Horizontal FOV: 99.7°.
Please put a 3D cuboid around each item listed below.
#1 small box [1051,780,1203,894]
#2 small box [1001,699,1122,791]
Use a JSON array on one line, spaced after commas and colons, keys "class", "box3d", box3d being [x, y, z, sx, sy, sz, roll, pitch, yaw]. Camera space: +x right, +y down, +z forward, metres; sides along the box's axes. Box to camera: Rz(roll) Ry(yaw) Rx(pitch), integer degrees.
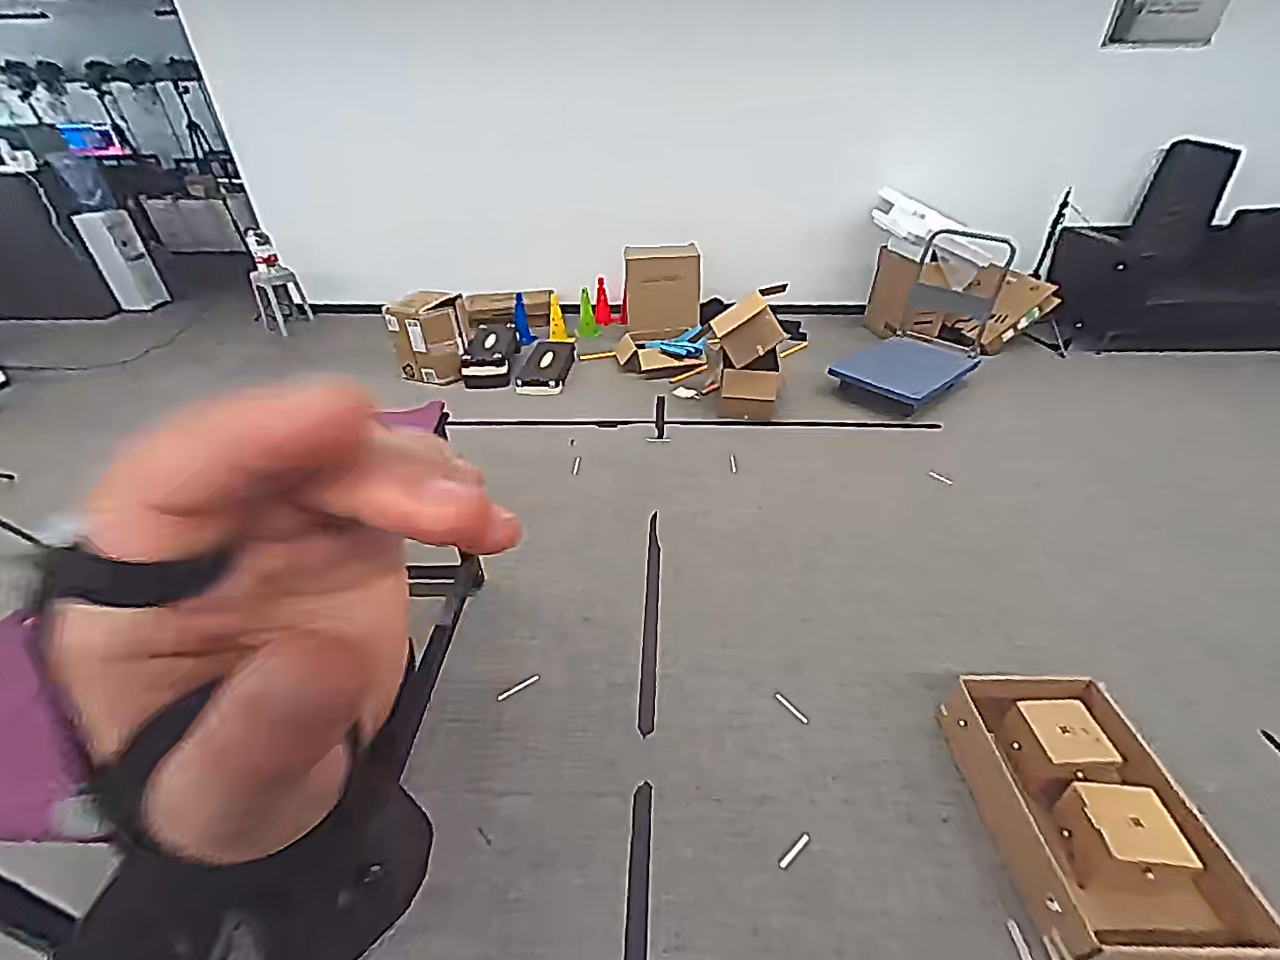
[{"class": "small box", "box3d": [1.115, 0.831, 1.257, 0.179, 0.176, 0.168, 3, 35, 6]}, {"class": "small box", "box3d": [1.098, 0.704, 1.433, 0.179, 0.176, 0.168, -1, 37, 0]}]
